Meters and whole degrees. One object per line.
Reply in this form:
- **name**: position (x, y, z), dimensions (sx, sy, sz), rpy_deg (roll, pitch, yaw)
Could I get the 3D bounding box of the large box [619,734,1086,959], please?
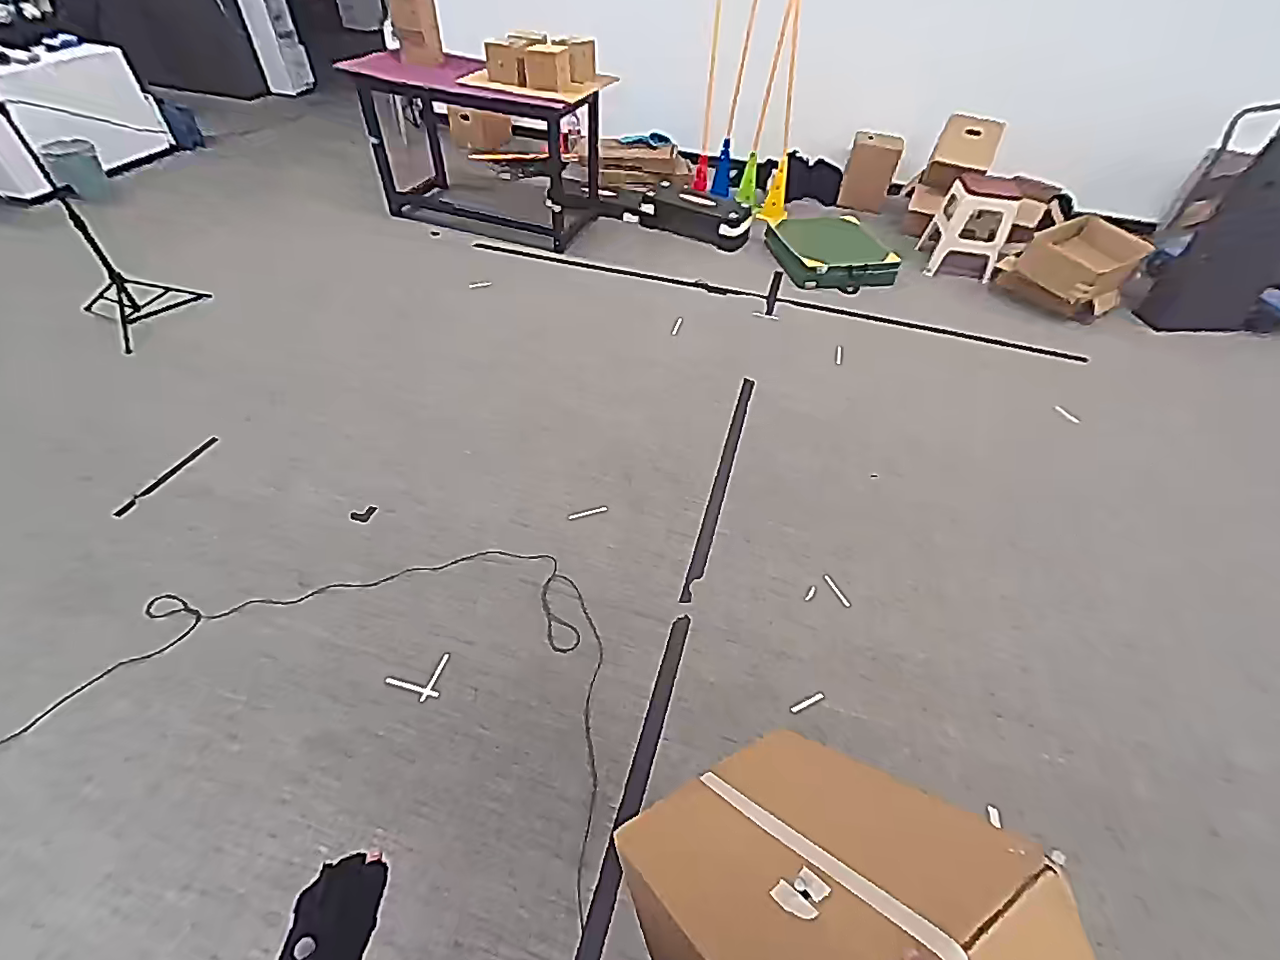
- **large box**: position (0.223, 0.563, 0.623), dimensions (0.320, 0.408, 0.320), rpy_deg (-18, 91, -25)
